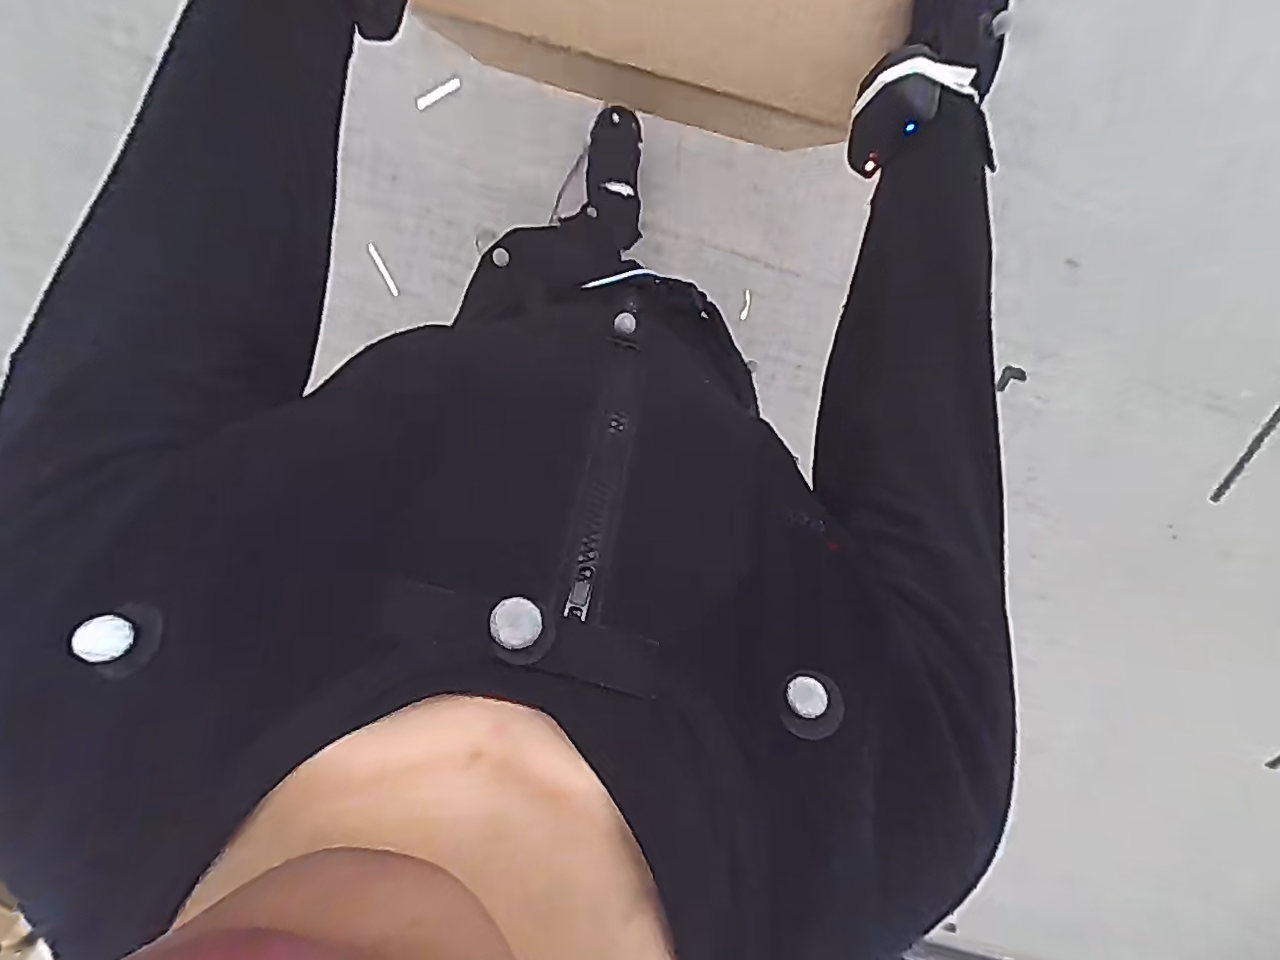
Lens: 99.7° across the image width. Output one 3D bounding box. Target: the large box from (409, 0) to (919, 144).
[{"bbox_3d":[0.036,-0.540,0.501,0.408,0.320,0.320,10,120,-8],"label":"large box"}]
